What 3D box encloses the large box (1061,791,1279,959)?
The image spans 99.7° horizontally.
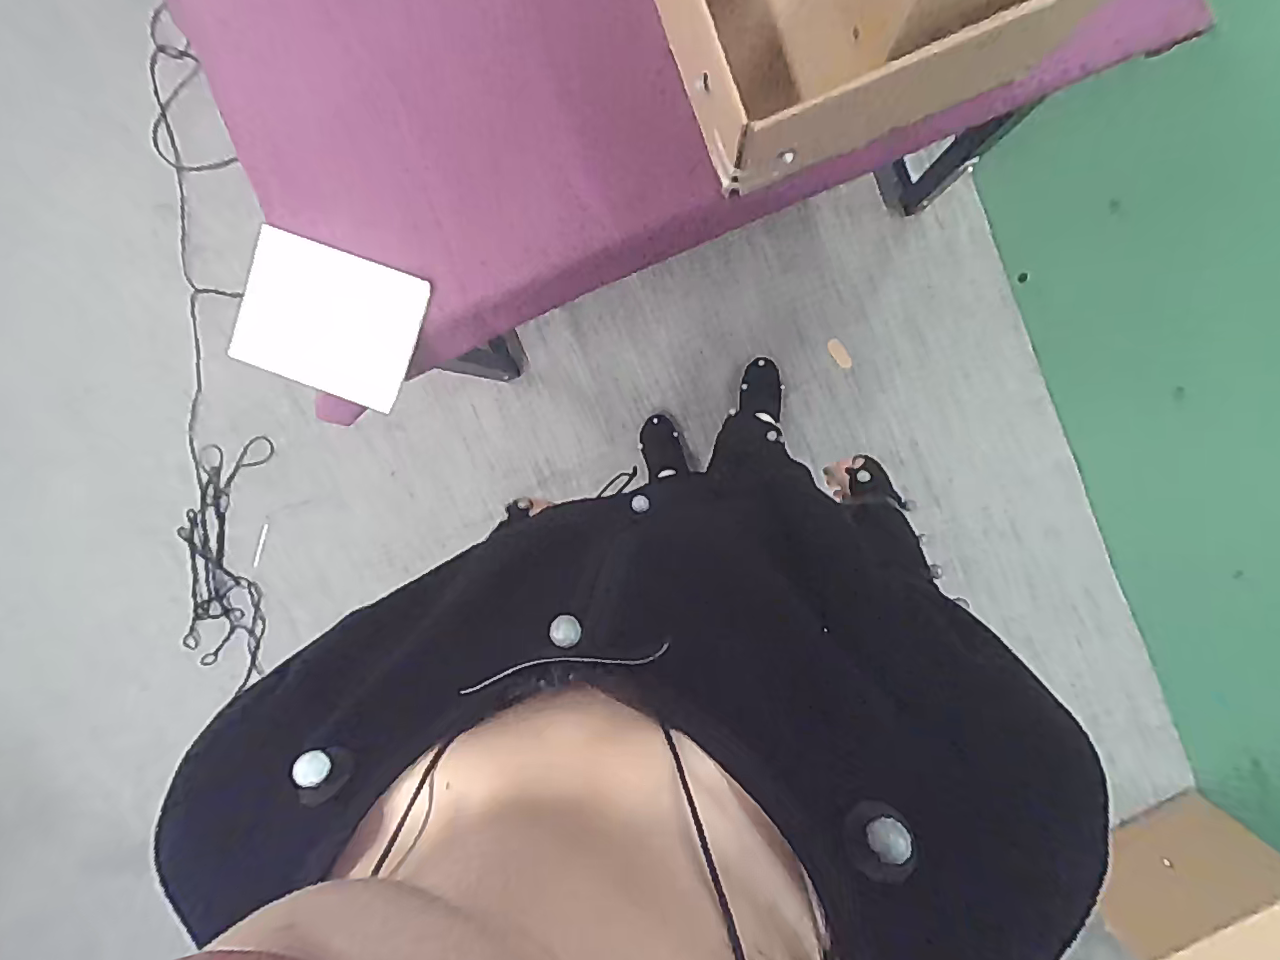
[{"bbox_3d":[1.399,1.084,1.338,0.408,0.320,0.320,-36,92,7],"label":"large box"}]
